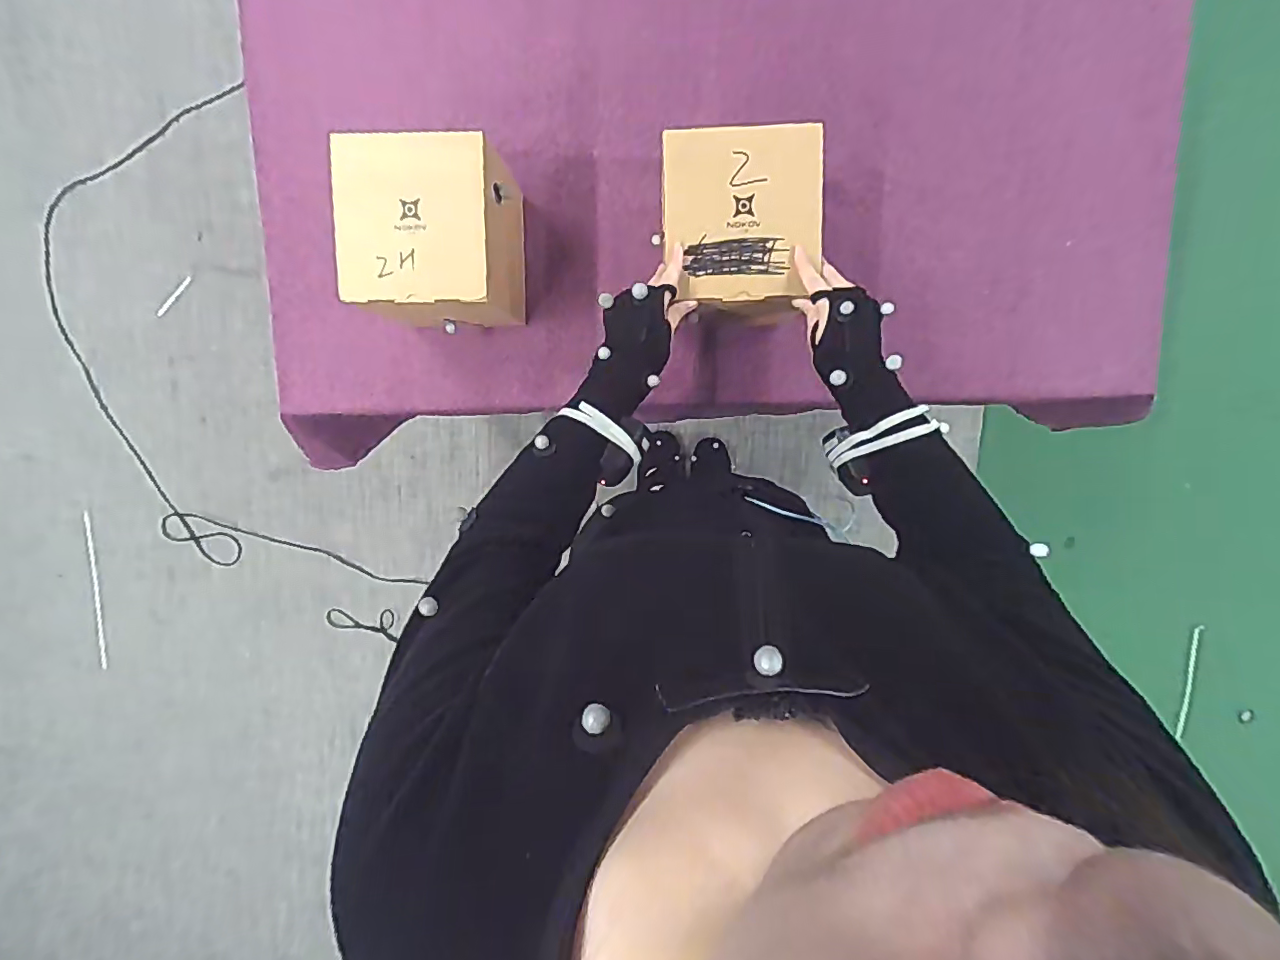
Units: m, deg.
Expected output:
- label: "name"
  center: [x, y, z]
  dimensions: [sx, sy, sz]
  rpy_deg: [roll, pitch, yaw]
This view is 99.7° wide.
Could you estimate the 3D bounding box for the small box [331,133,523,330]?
- label: "small box"
  center: [-0.243, -0.286, 0.656]
  dimensions: [0.168, 0.176, 0.179]
  rpy_deg: [0, 96, 2]
